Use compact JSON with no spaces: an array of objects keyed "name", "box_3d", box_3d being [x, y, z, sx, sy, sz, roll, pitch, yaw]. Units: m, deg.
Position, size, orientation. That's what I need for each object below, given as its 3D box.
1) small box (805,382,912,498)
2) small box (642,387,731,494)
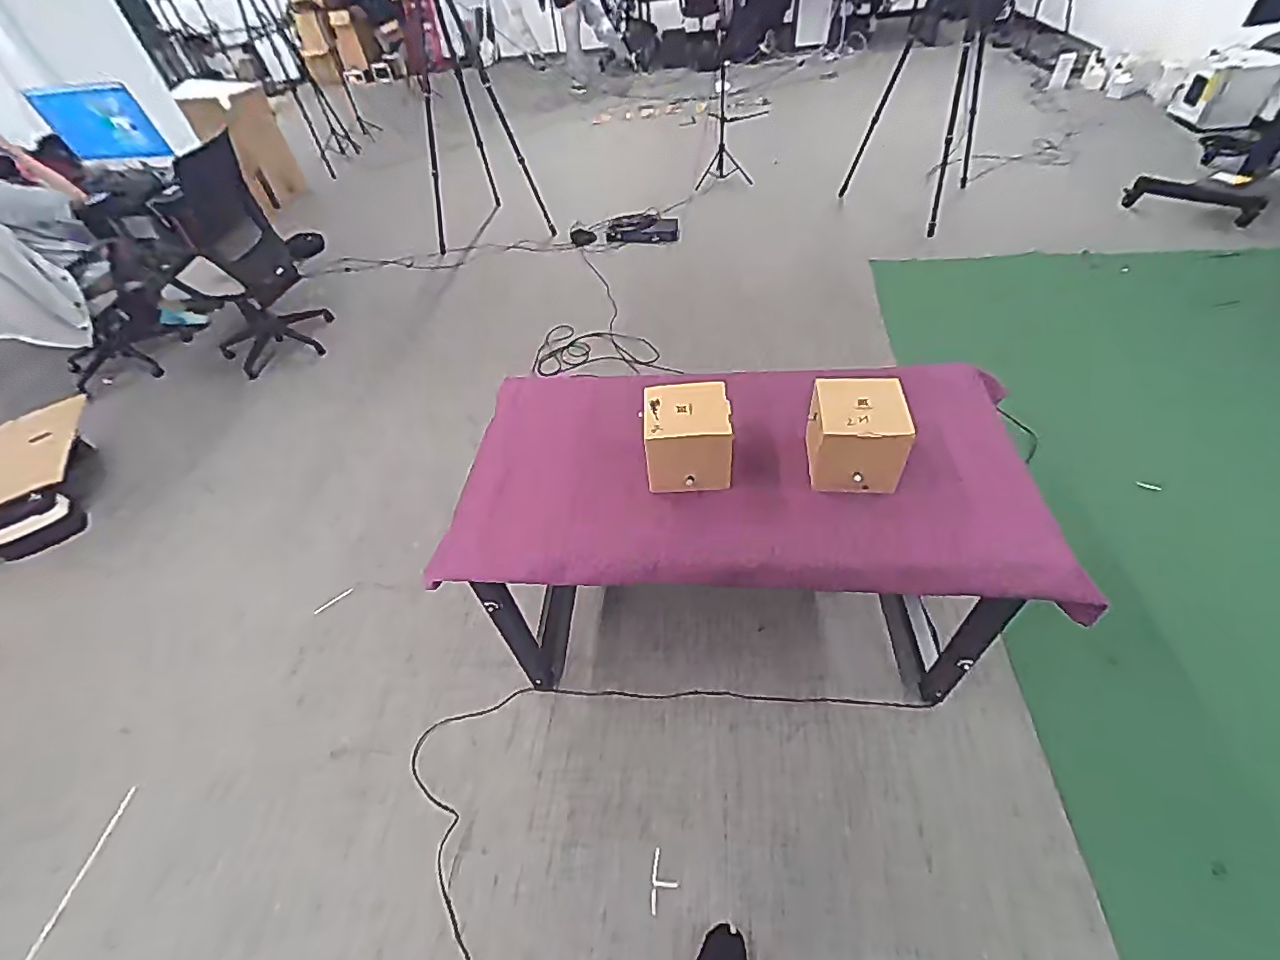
[{"name":"small box","box_3d":[0.442,-0.085,1.127,0.168,0.176,0.179,2,48,9]},{"name":"small box","box_3d":[0.099,-0.082,1.168,0.179,0.176,0.168,-2,47,5]}]
